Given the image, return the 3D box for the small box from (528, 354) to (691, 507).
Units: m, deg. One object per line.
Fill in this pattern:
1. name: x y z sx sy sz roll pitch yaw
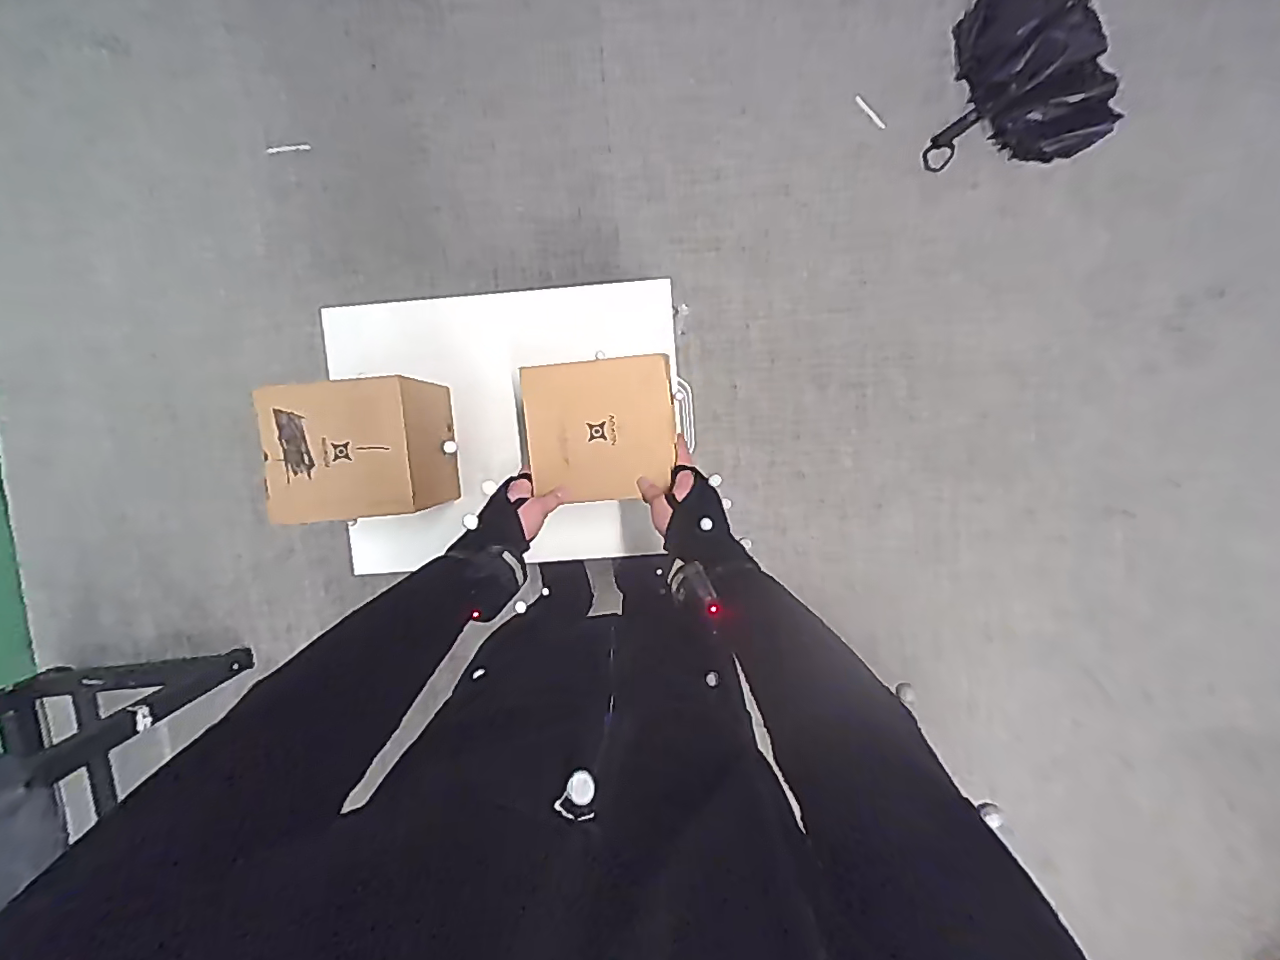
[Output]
1. small box: -0.032 -0.062 0.695 0.179 0.176 0.168 -5 94 3

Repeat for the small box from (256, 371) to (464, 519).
1. small box: -0.346 -0.046 0.699 0.179 0.176 0.168 -4 96 -1
